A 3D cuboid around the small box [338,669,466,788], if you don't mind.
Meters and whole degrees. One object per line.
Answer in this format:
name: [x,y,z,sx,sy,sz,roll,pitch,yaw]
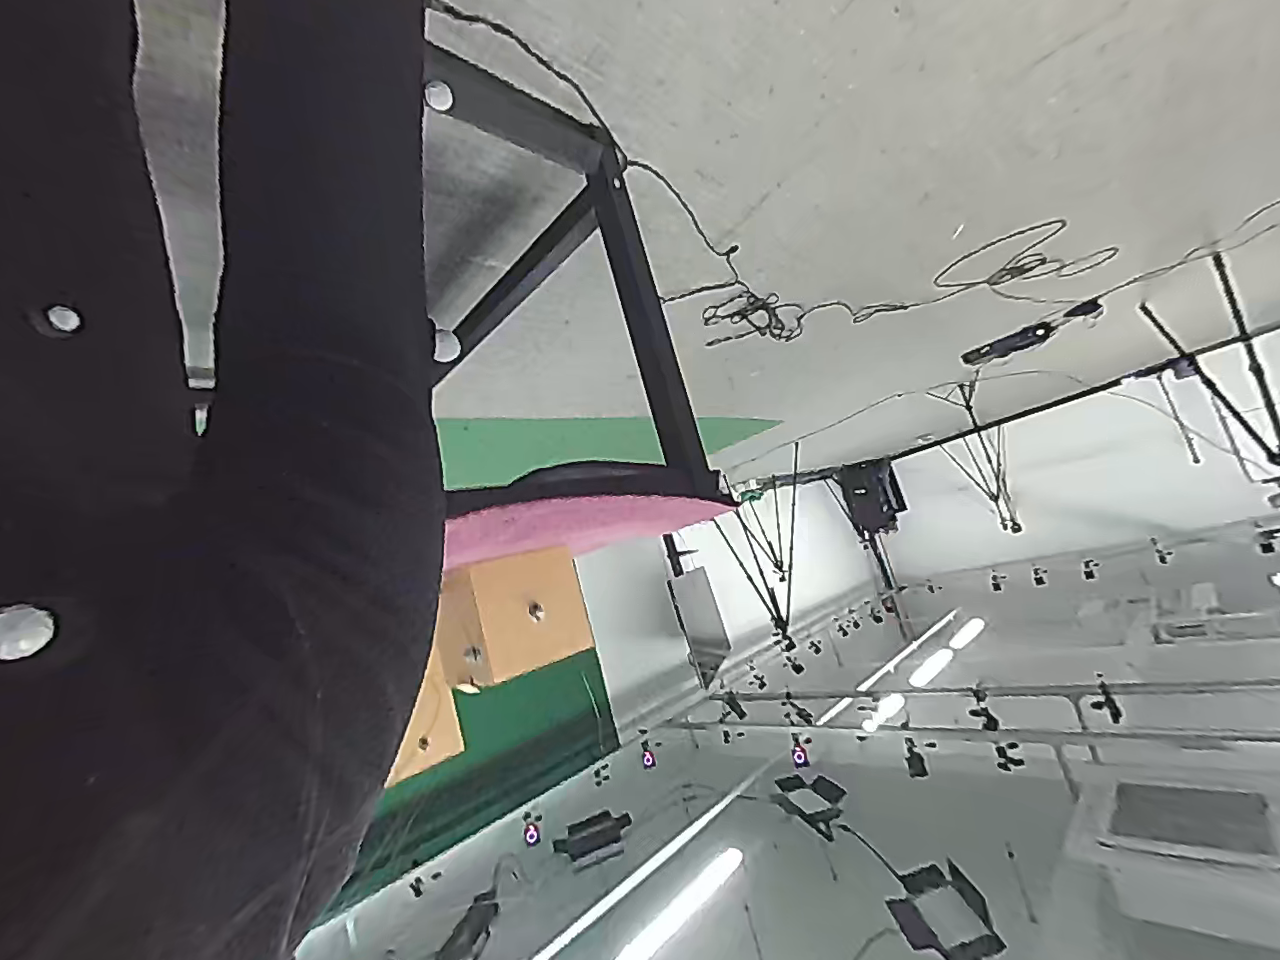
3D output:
small box: [-0.491,0.499,1.110,0.179,0.176,0.168,-7,167,-47]
